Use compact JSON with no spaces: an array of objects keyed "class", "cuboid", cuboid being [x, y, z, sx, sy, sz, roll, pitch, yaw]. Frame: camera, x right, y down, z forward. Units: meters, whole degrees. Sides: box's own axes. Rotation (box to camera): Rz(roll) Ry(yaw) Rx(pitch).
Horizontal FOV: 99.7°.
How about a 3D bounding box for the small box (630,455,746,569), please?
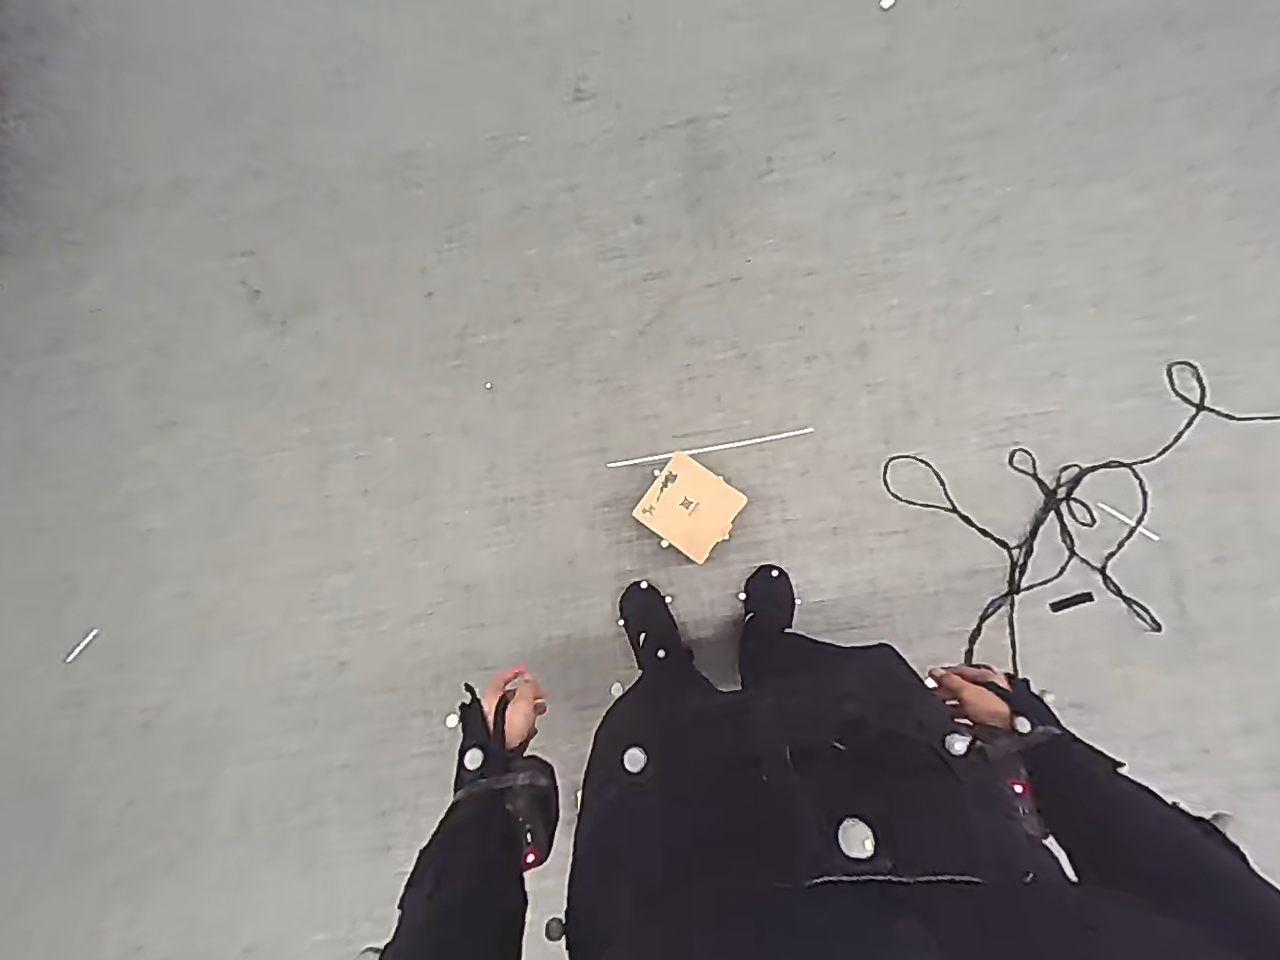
[{"class":"small box","cuboid":[0.101,0.069,1.157,0.179,0.176,0.168,37,87,7]}]
